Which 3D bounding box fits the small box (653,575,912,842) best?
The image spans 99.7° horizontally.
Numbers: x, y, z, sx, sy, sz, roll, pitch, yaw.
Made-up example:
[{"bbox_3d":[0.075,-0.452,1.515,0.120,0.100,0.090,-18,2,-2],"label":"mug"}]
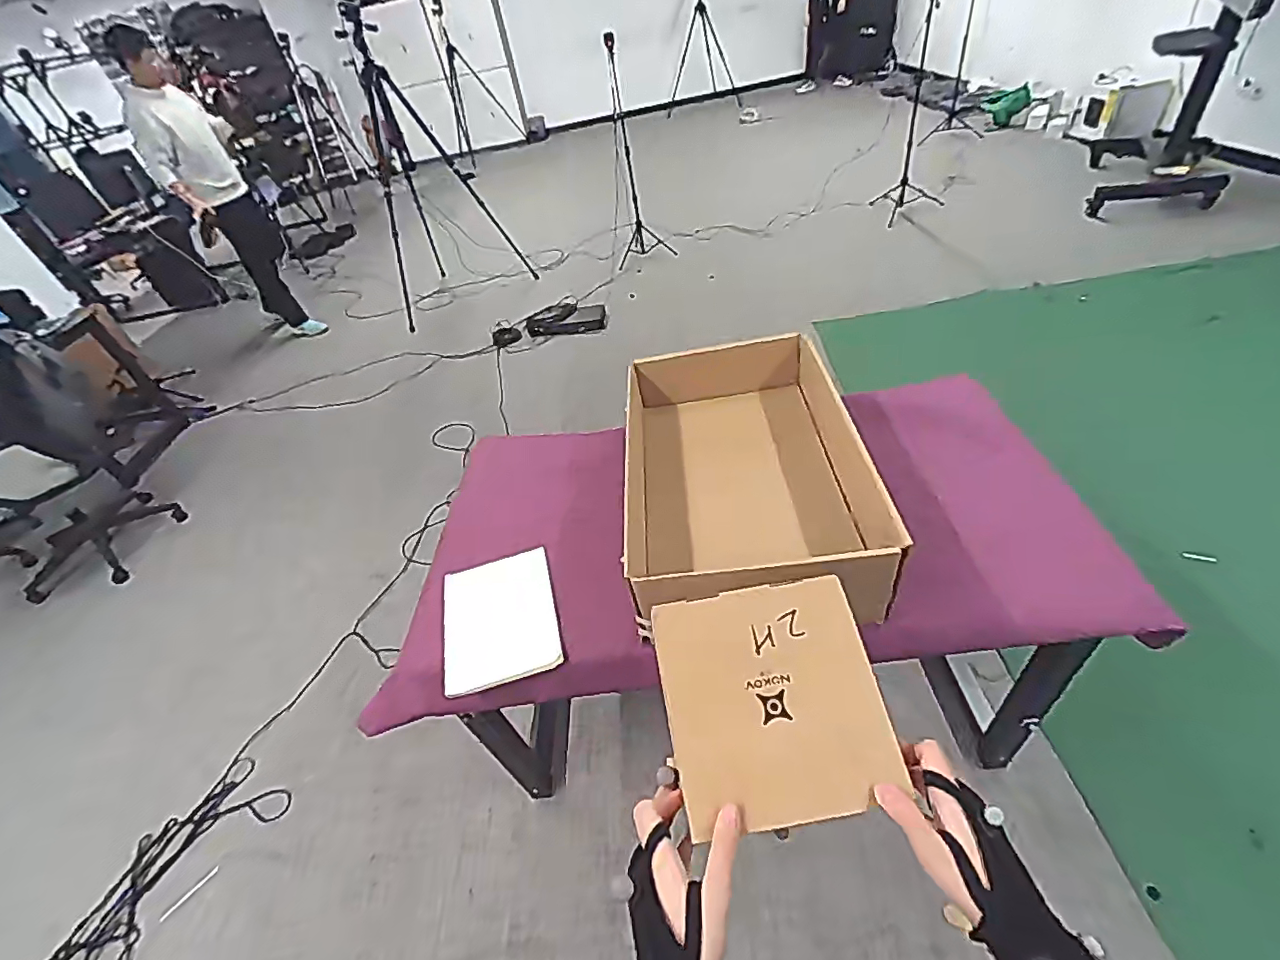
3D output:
[{"bbox_3d":[0.108,0.205,0.491,0.168,0.176,0.179,-9,61,-2],"label":"small box"}]
